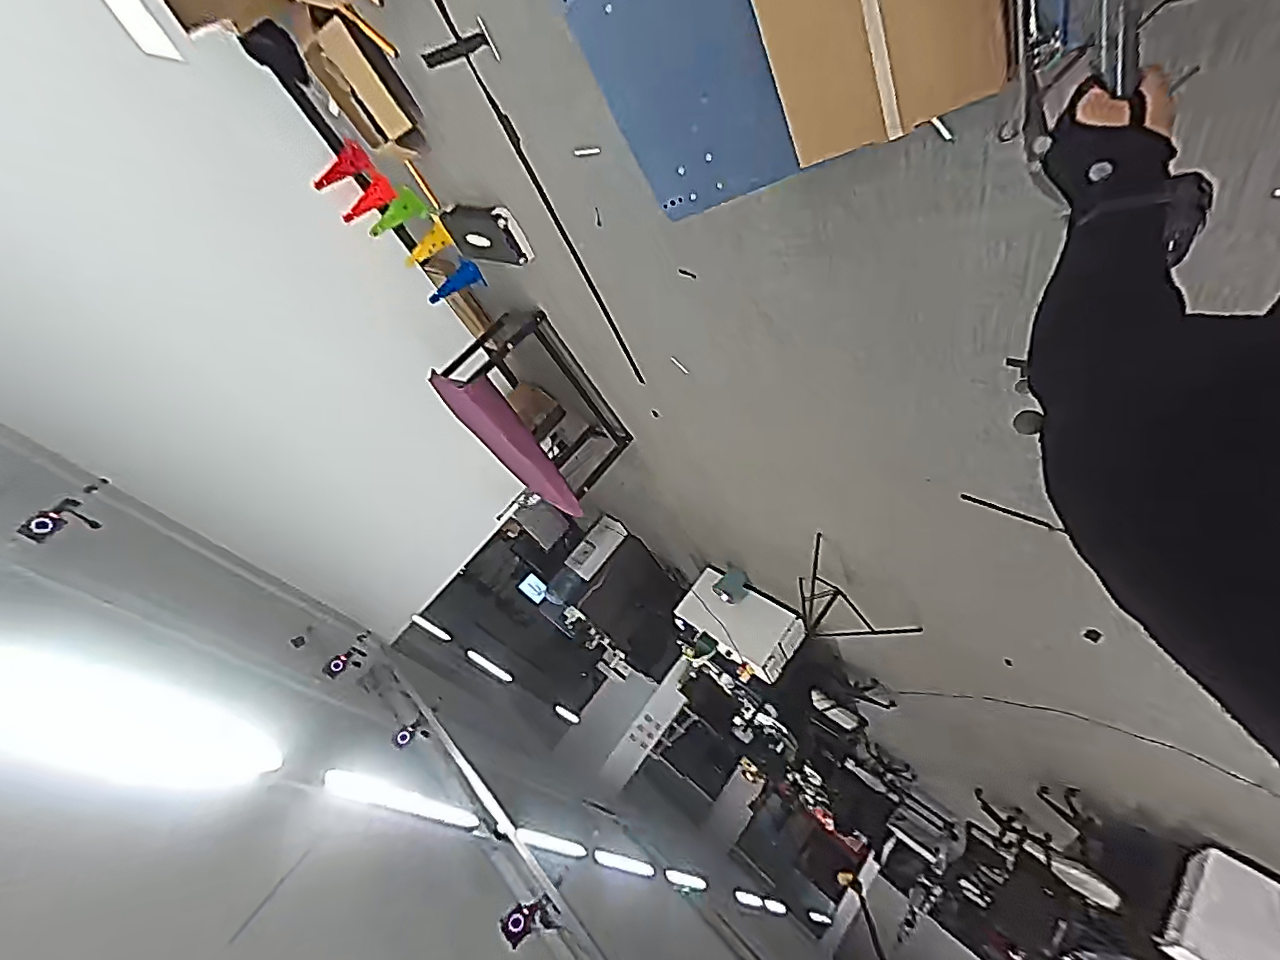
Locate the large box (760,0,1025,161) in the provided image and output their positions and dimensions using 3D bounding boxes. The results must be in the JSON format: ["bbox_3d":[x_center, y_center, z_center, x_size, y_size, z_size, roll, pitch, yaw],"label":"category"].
[{"bbox_3d":[0.389,-0.812,0.839,0.320,0.320,0.408,-3,136,38],"label":"large box"}]
